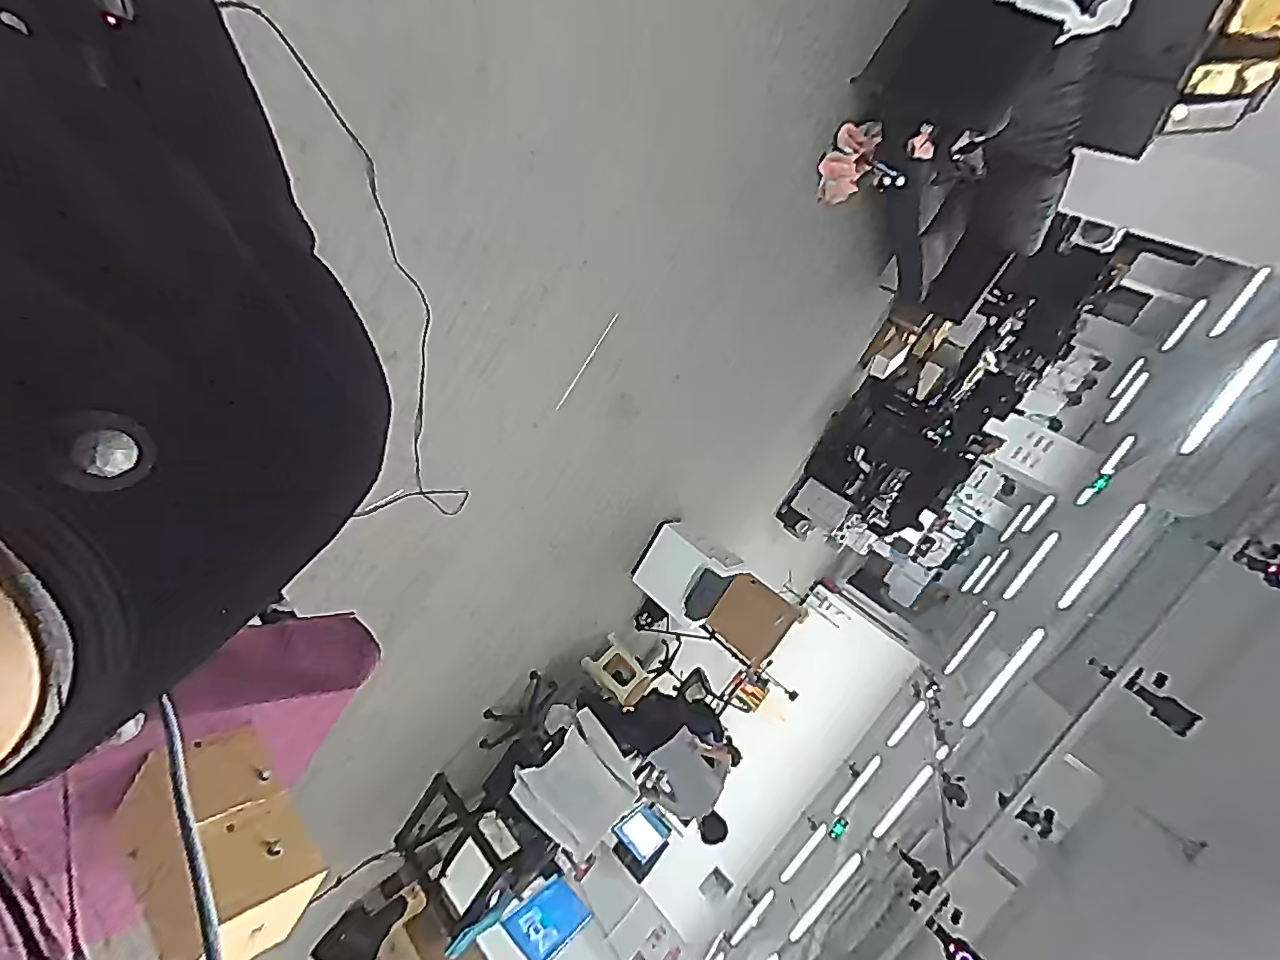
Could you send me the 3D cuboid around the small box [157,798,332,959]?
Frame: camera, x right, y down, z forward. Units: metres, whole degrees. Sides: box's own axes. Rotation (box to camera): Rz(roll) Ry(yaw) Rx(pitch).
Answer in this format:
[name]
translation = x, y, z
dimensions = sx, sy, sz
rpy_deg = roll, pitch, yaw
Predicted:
[small box]
translation = -0.668, 0.674, 0.910
dimensions = 0.179, 0.176, 0.168
rpy_deg = -56, 152, 11
